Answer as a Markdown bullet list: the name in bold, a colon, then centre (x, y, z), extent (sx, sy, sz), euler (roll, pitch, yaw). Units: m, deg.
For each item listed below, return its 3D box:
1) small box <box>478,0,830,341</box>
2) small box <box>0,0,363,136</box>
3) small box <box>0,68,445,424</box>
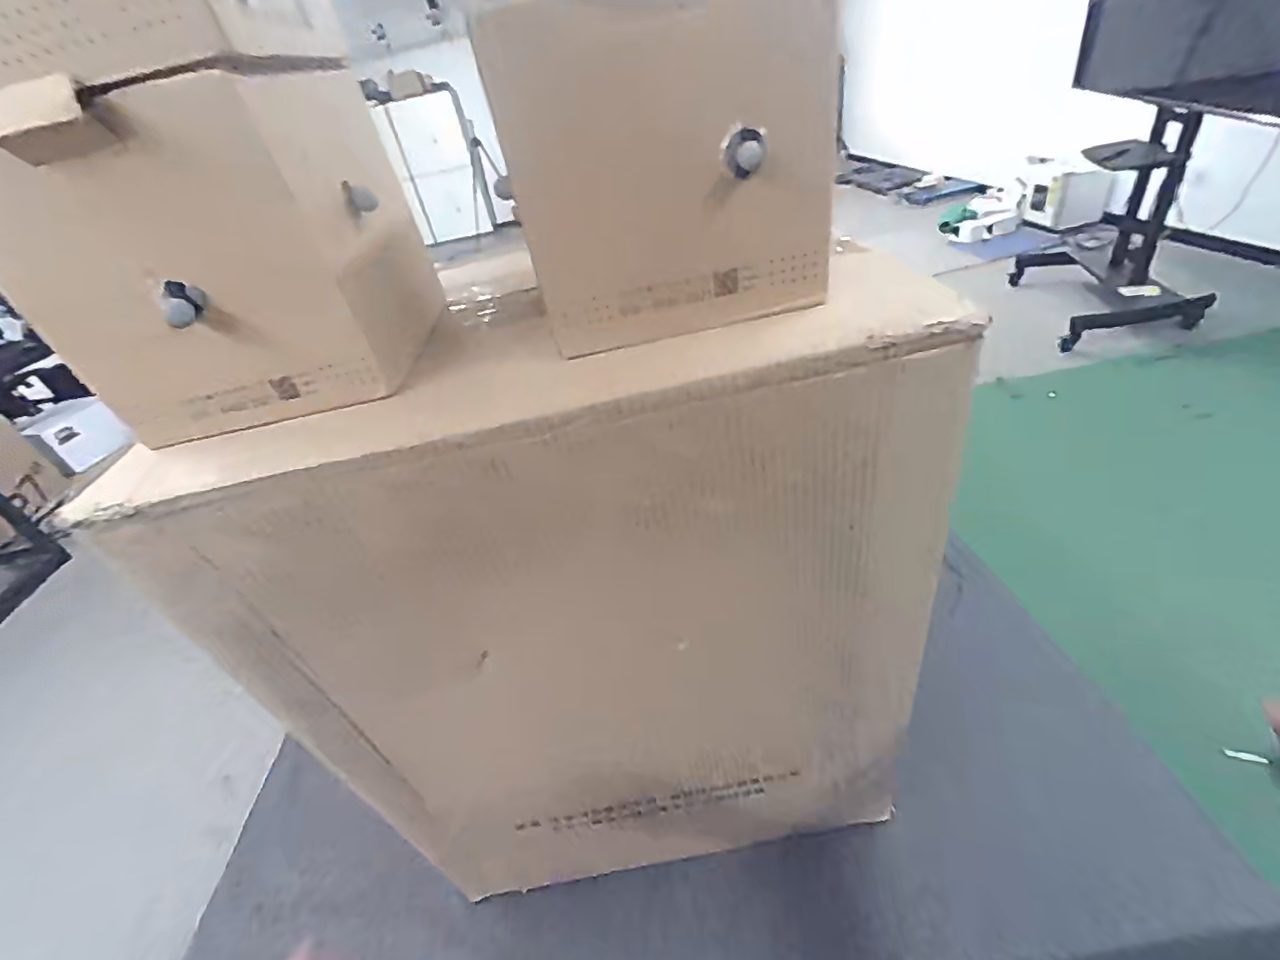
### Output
- **small box**: centre (0.012, -0.200, 0.348), extent (0.168, 0.176, 0.179), euler (-10, 36, 0)
- **small box**: centre (-0.271, -0.263, 0.260), extent (0.179, 0.176, 0.168), euler (-12, 37, 2)
- **small box**: centre (-0.247, -0.150, 0.355), extent (0.168, 0.176, 0.179), euler (-11, 38, 1)
